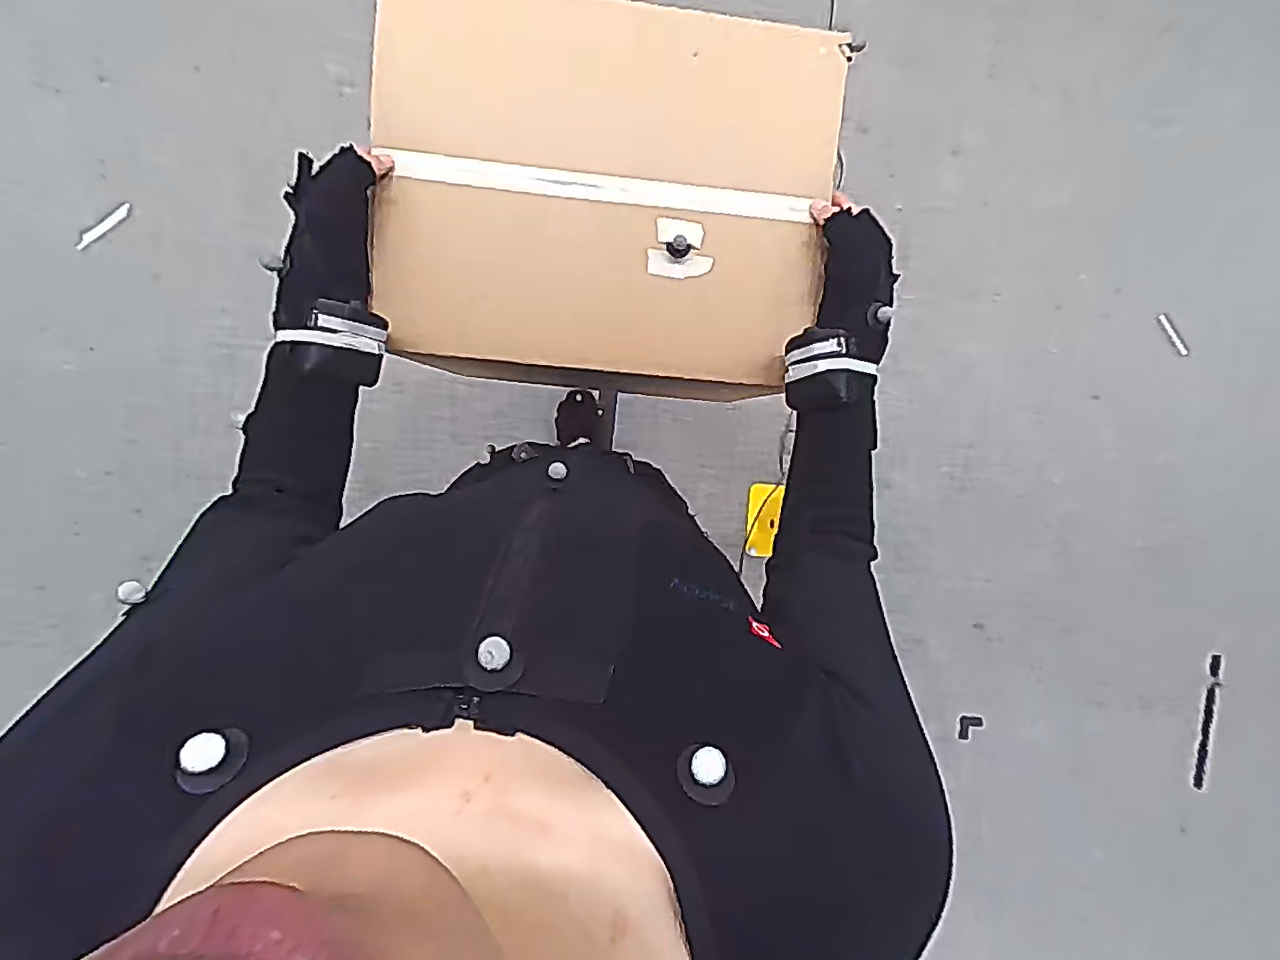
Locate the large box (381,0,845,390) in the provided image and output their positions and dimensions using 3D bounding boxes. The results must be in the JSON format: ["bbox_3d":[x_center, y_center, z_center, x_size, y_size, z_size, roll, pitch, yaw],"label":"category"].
[{"bbox_3d":[-0.036,-0.282,0.629,0.408,0.320,0.320,5,96,-5],"label":"large box"}]
